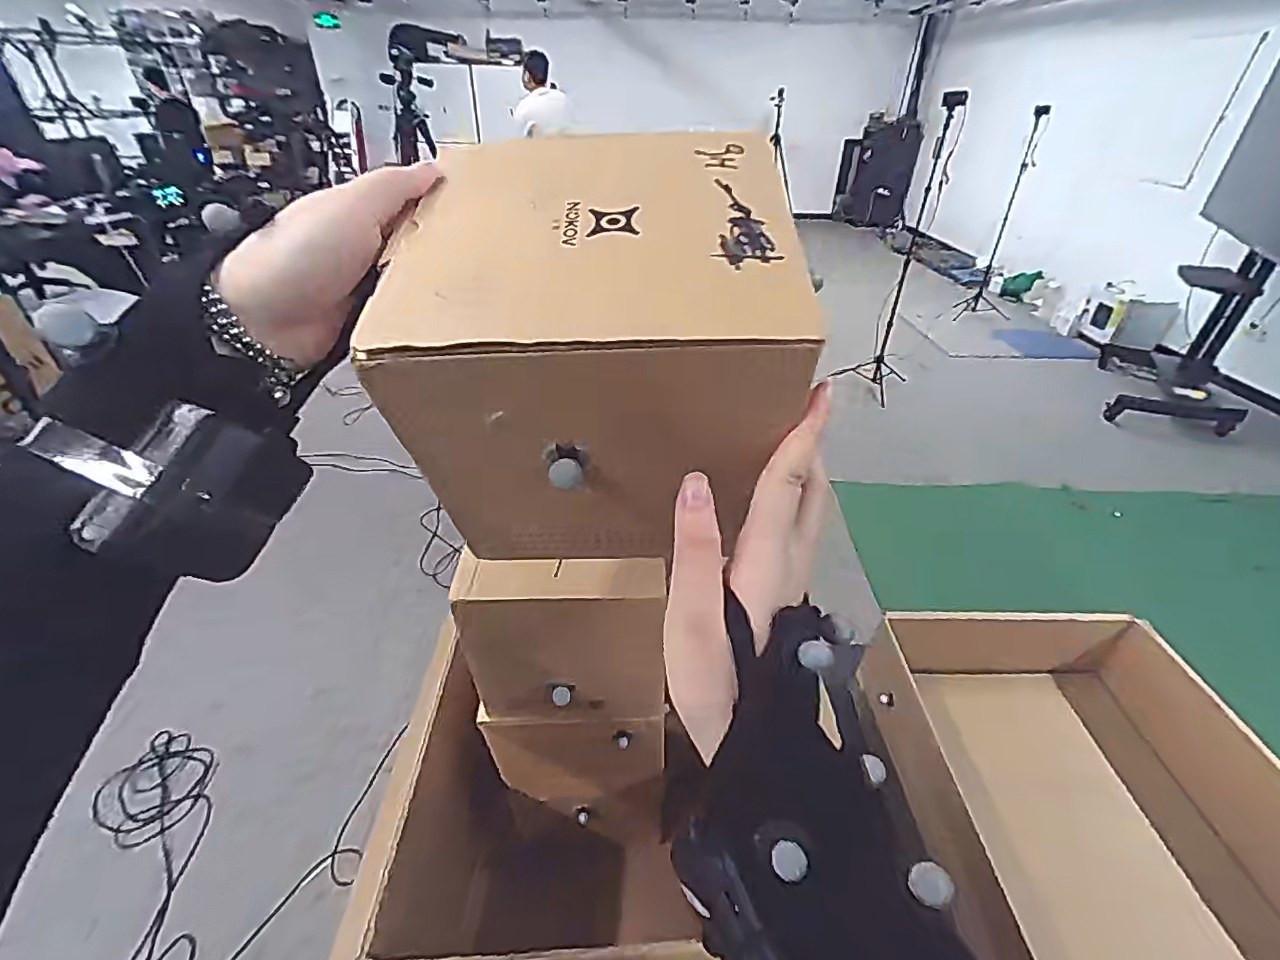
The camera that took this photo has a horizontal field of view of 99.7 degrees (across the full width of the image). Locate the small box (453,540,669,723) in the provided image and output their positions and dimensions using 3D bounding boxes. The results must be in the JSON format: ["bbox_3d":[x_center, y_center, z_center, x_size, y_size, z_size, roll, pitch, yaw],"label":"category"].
[{"bbox_3d":[-0.060,0.106,0.518,0.168,0.176,0.179,-1,38,0],"label":"small box"}]

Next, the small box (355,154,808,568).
[{"bbox_3d":[-0.018,-0.058,0.312,0.179,0.176,0.168,-2,55,2],"label":"small box"}]
